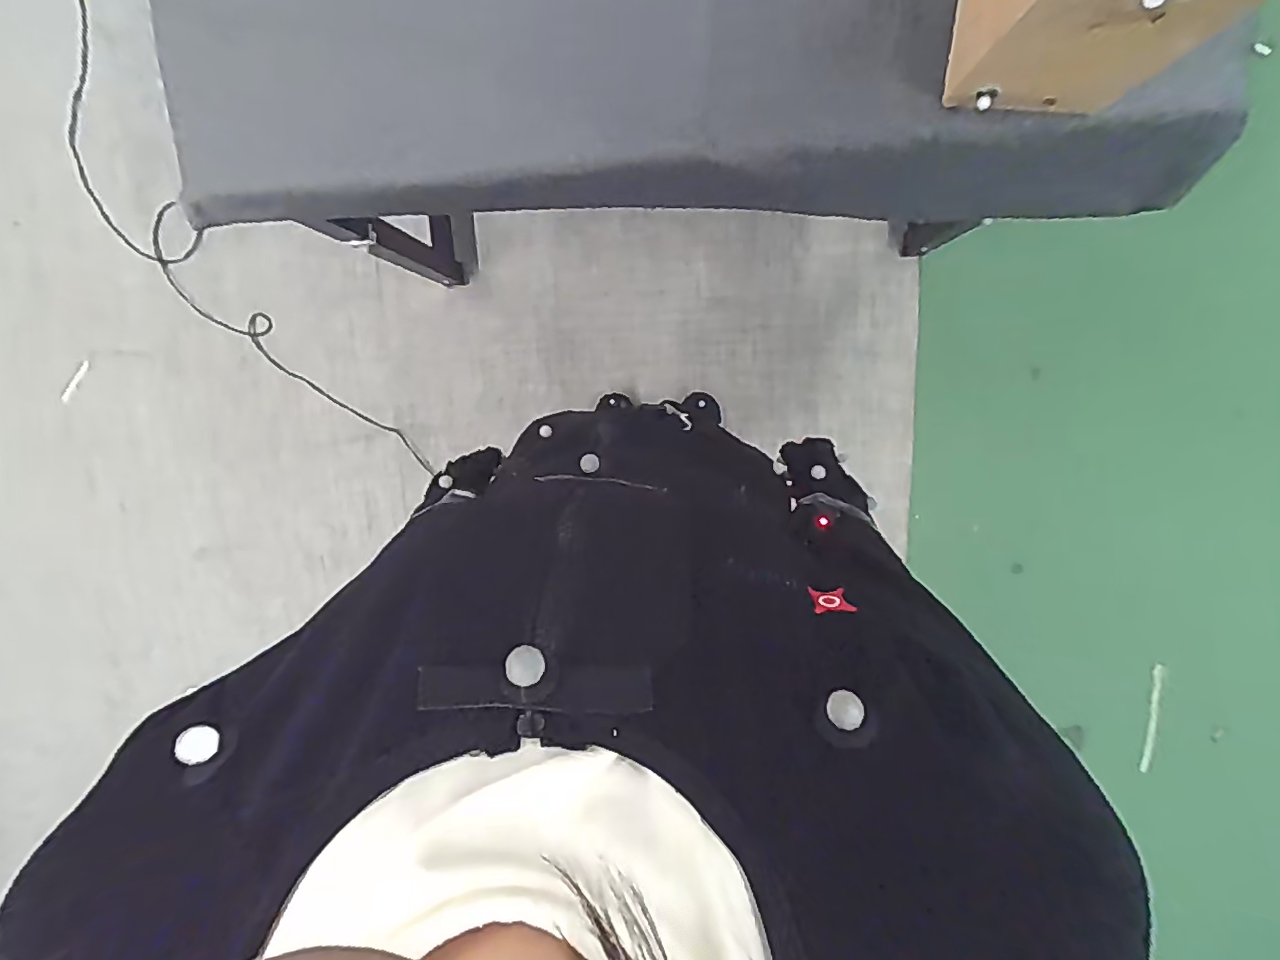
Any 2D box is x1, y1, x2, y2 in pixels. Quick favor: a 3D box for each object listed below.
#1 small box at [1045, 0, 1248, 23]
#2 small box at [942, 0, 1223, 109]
[{"bbox_3d":[0.401,-0.453,0.350,0.168,0.176,0.179,6,101,3],"label":"small box"},{"bbox_3d":[0.413,-0.484,0.508,0.168,0.176,0.179,6,99,2],"label":"small box"}]
